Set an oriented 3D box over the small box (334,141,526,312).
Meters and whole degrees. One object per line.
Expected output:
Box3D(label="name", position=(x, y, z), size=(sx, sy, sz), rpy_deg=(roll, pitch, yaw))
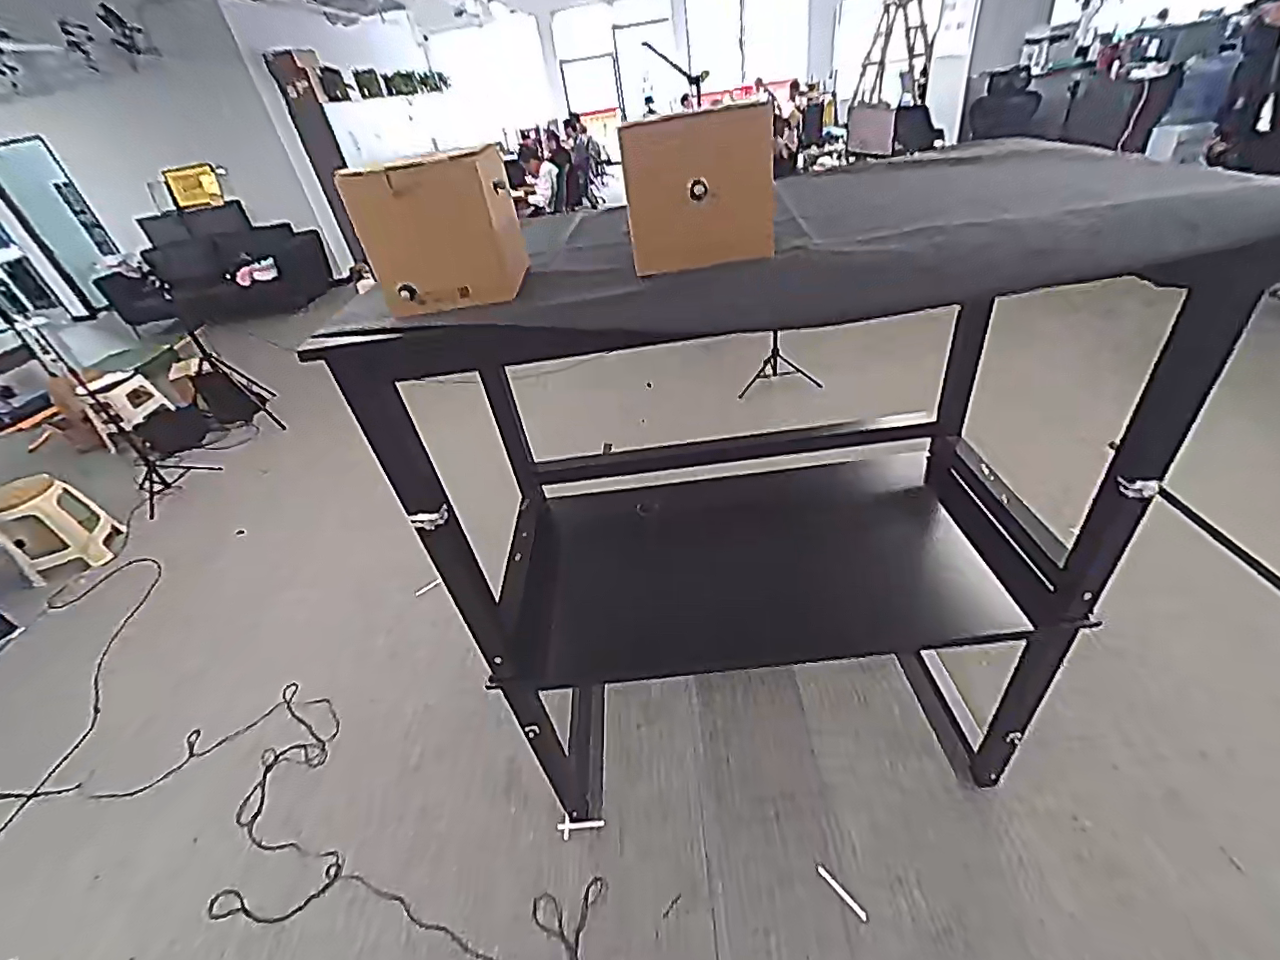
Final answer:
Box3D(label="small box", position=(-0.259, -0.332, 0.719), size=(0.168, 0.176, 0.179), rpy_deg=(-8, 36, 2))
